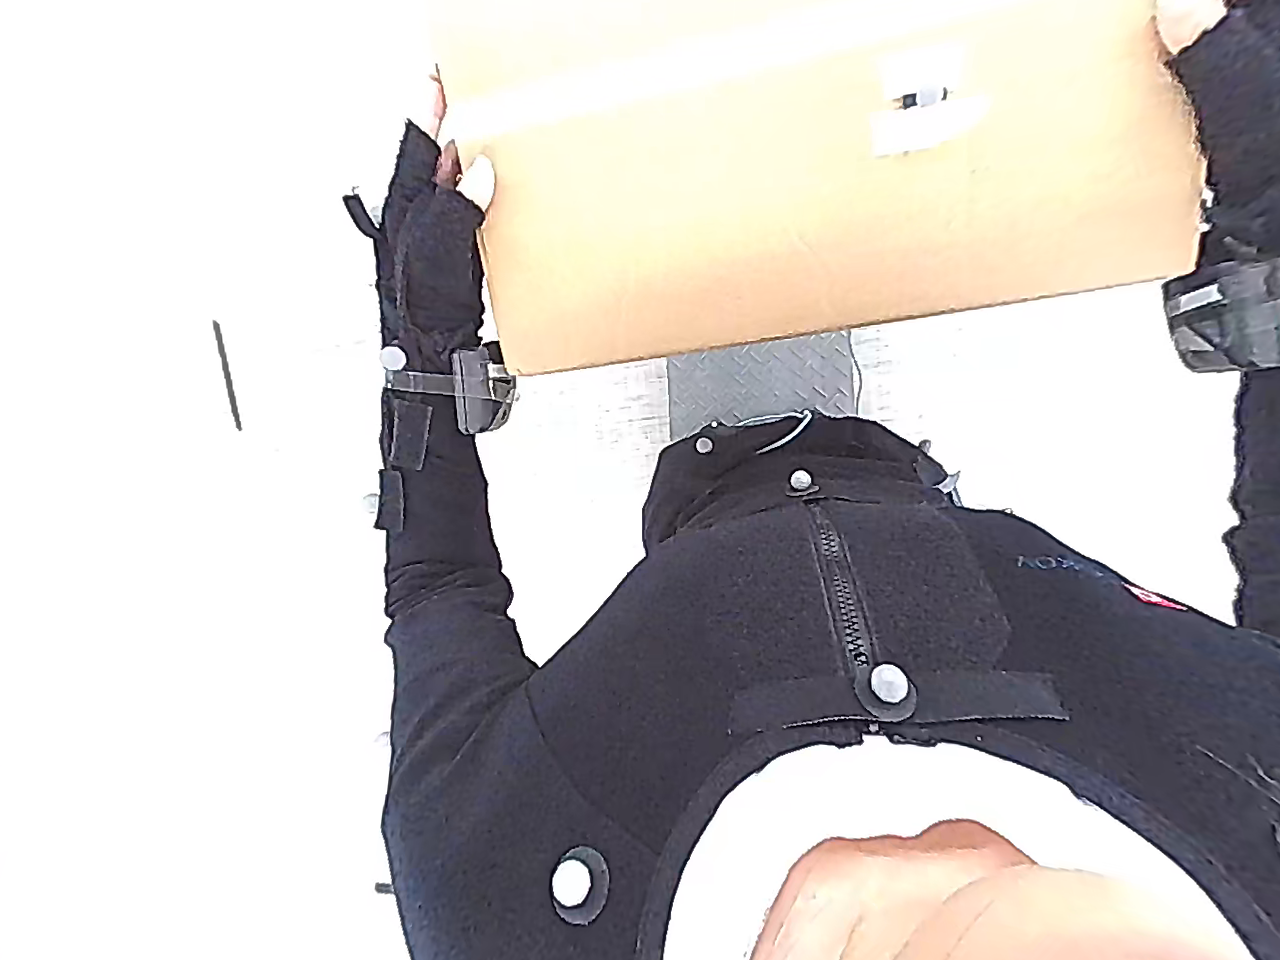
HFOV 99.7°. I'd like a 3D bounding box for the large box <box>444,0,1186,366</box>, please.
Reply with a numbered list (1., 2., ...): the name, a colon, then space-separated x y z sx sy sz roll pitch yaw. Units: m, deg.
1. large box: 0.104 -0.289 0.452 0.408 0.320 0.320 -7 105 10
